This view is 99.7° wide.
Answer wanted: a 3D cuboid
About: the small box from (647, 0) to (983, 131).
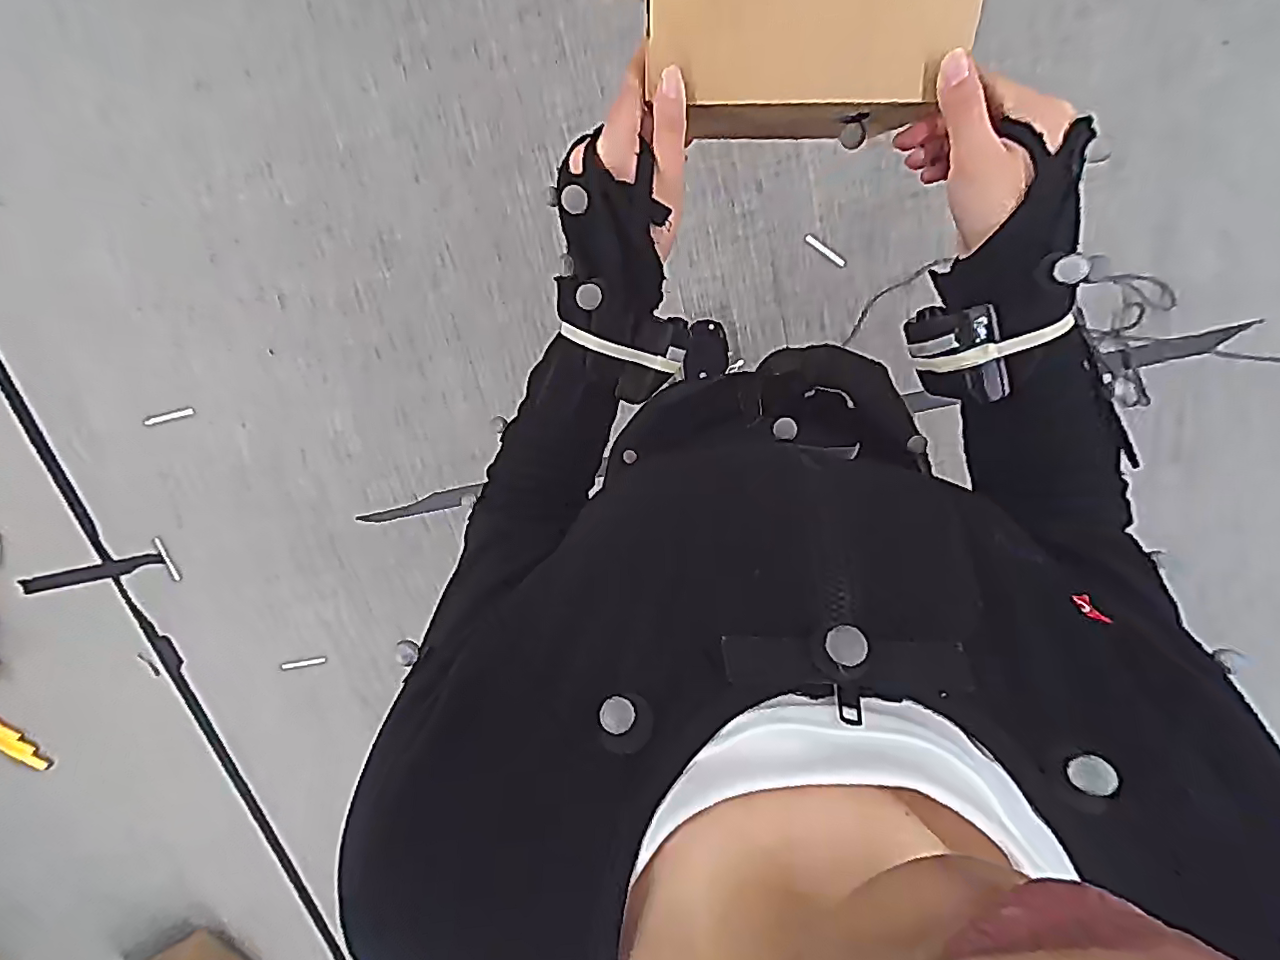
[{"bbox_3d":[0.098,-0.326,0.335,0.179,0.176,0.168,3,116,5],"label":"small box"}]
